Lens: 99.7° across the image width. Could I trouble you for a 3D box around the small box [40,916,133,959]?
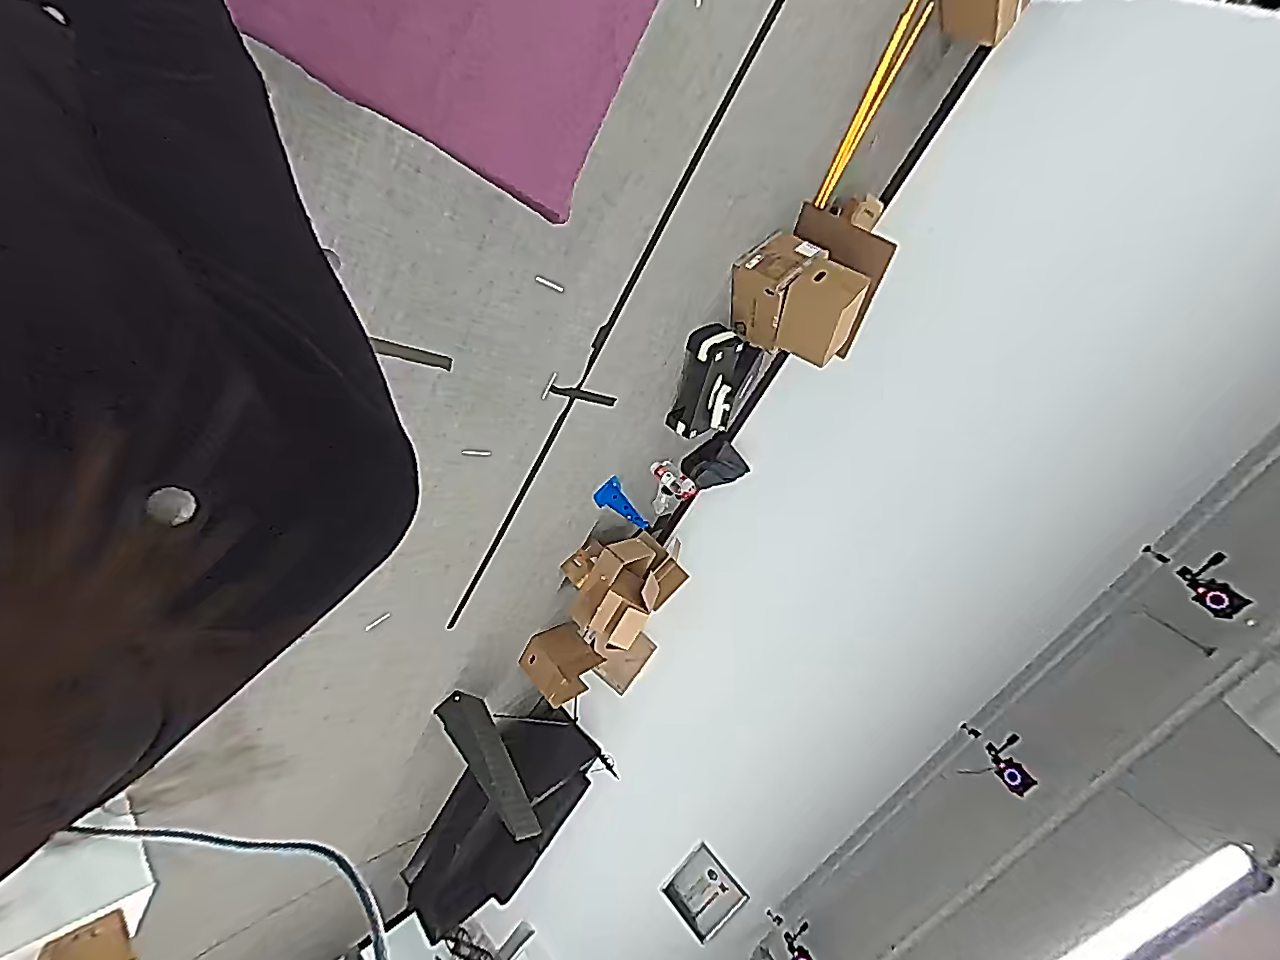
[{"bbox_3d":[-1.588,1.410,1.542,0.179,0.176,0.168,-57,155,16],"label":"small box"}]
